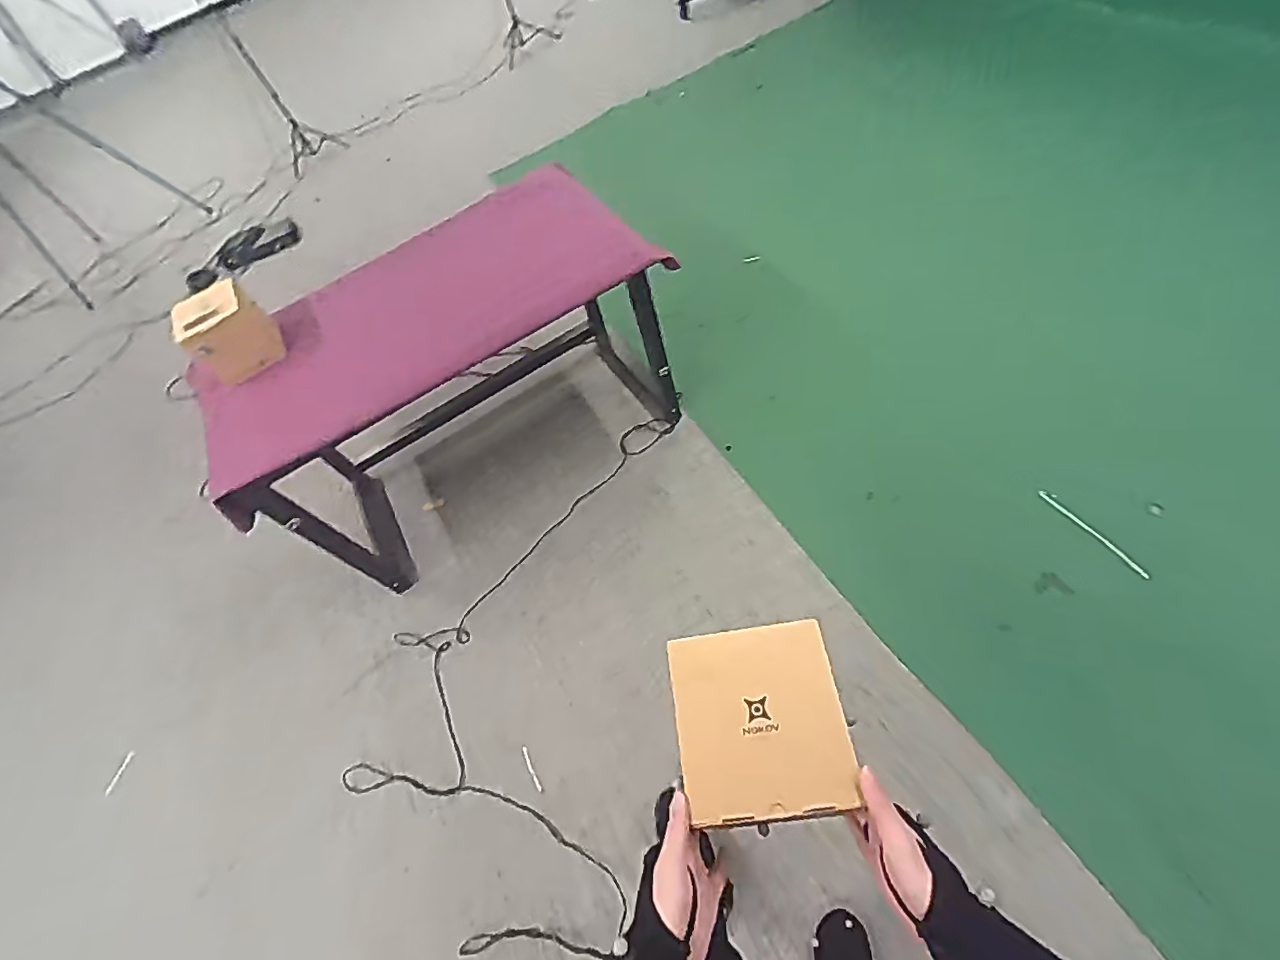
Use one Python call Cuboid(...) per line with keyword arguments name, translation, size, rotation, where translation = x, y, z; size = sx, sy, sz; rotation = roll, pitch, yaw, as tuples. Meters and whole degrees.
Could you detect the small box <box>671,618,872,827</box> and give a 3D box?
Cuboid(name="small box", translation=(0.130, 0.272, 0.596), size=(0.168, 0.176, 0.179), rotation=(-10, 57, 4))
